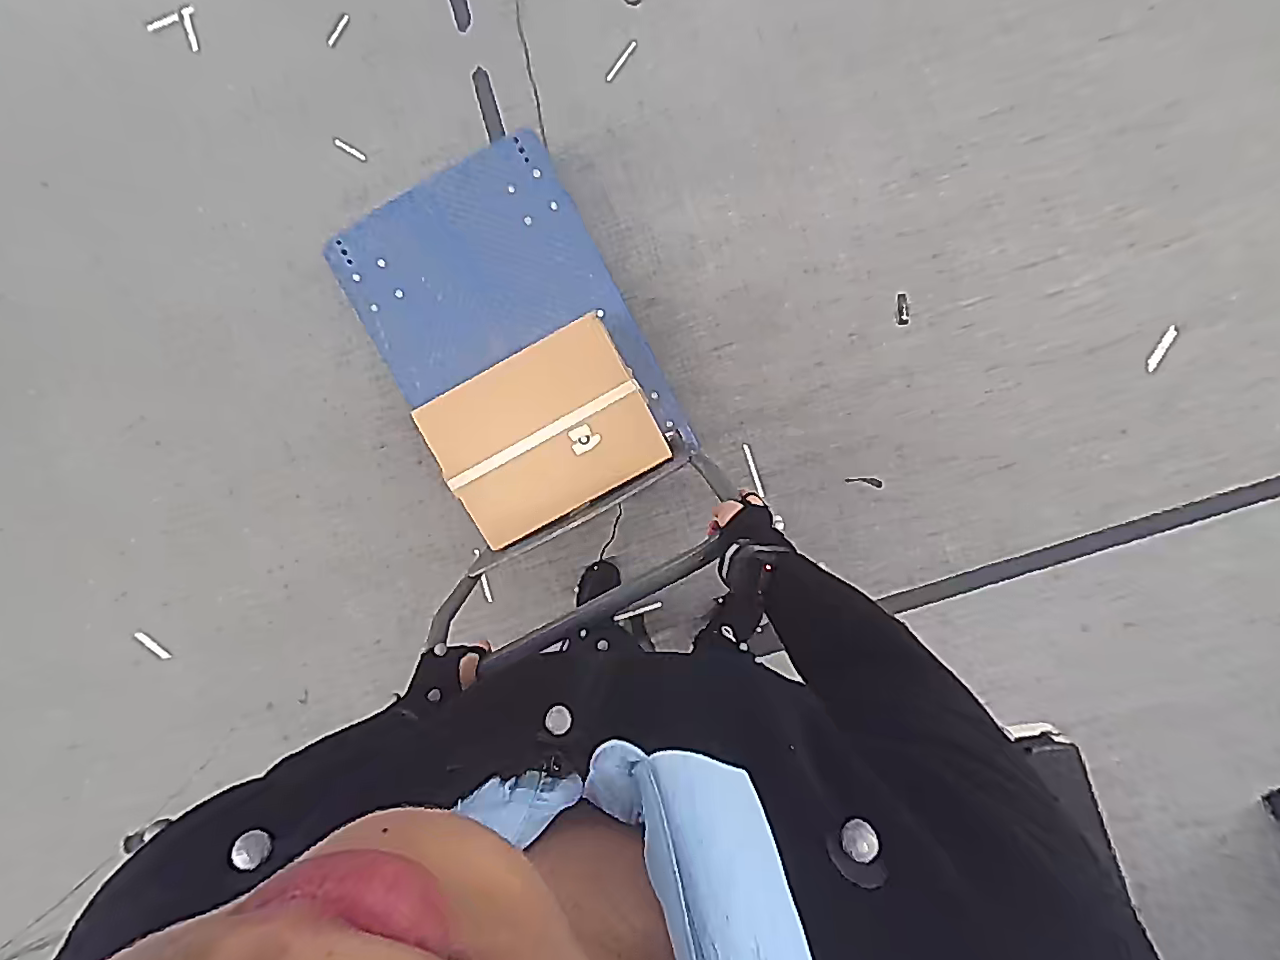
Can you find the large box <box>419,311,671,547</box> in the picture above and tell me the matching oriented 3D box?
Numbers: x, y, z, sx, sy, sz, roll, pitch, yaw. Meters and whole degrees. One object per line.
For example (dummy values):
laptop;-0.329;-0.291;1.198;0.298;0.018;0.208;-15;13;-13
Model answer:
large box;-0.187;-0.110;1.192;0.408;0.320;0.320;-29;98;2
